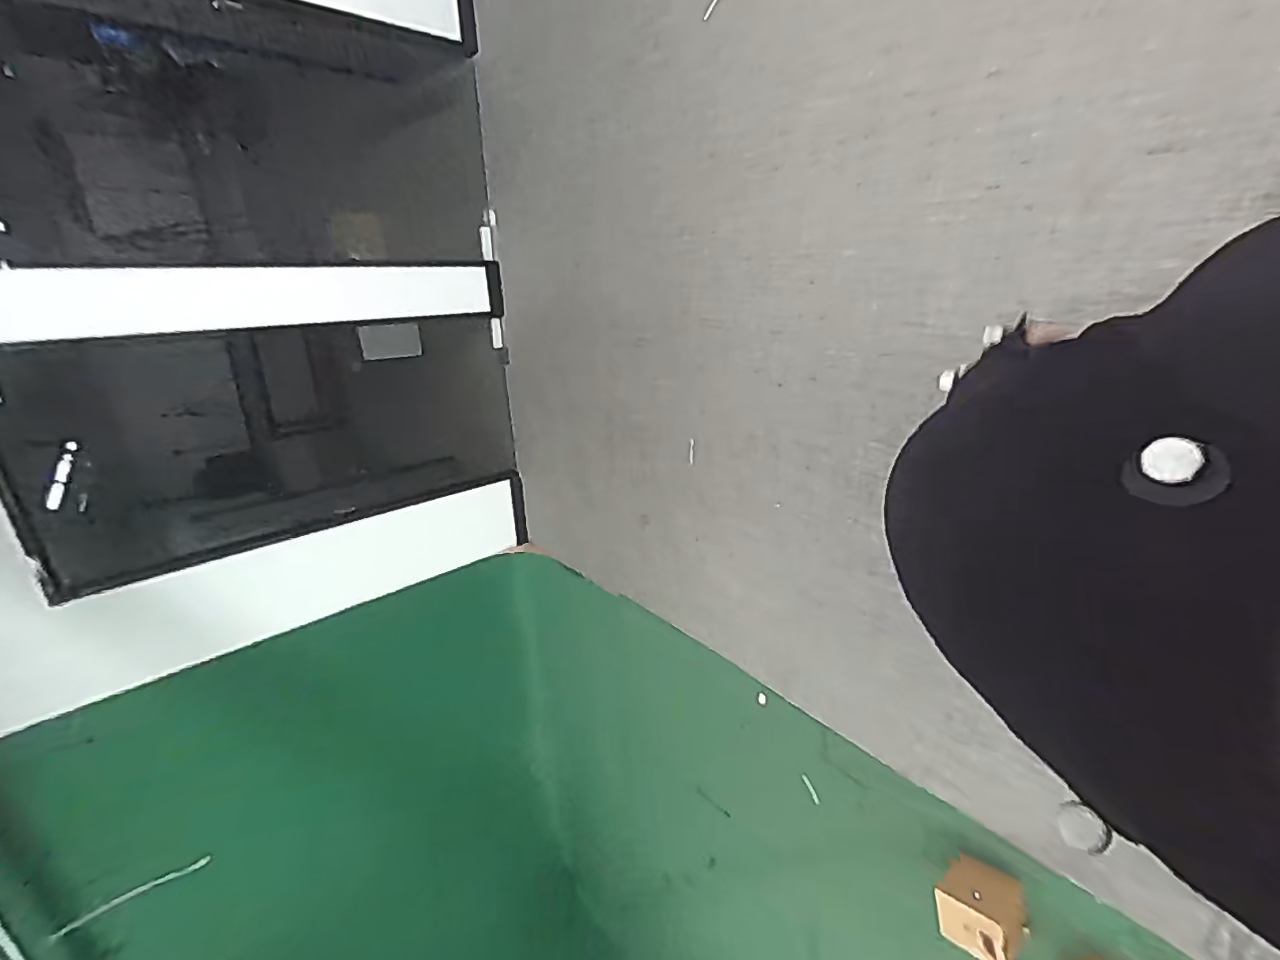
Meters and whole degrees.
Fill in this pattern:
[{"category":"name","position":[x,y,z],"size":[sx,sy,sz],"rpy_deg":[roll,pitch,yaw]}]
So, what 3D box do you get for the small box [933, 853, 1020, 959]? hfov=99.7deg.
[{"category":"small box","position":[0.993,1.252,1.588],"size":[0.179,0.176,0.168],"rpy_deg":[-1,103,51]}]
